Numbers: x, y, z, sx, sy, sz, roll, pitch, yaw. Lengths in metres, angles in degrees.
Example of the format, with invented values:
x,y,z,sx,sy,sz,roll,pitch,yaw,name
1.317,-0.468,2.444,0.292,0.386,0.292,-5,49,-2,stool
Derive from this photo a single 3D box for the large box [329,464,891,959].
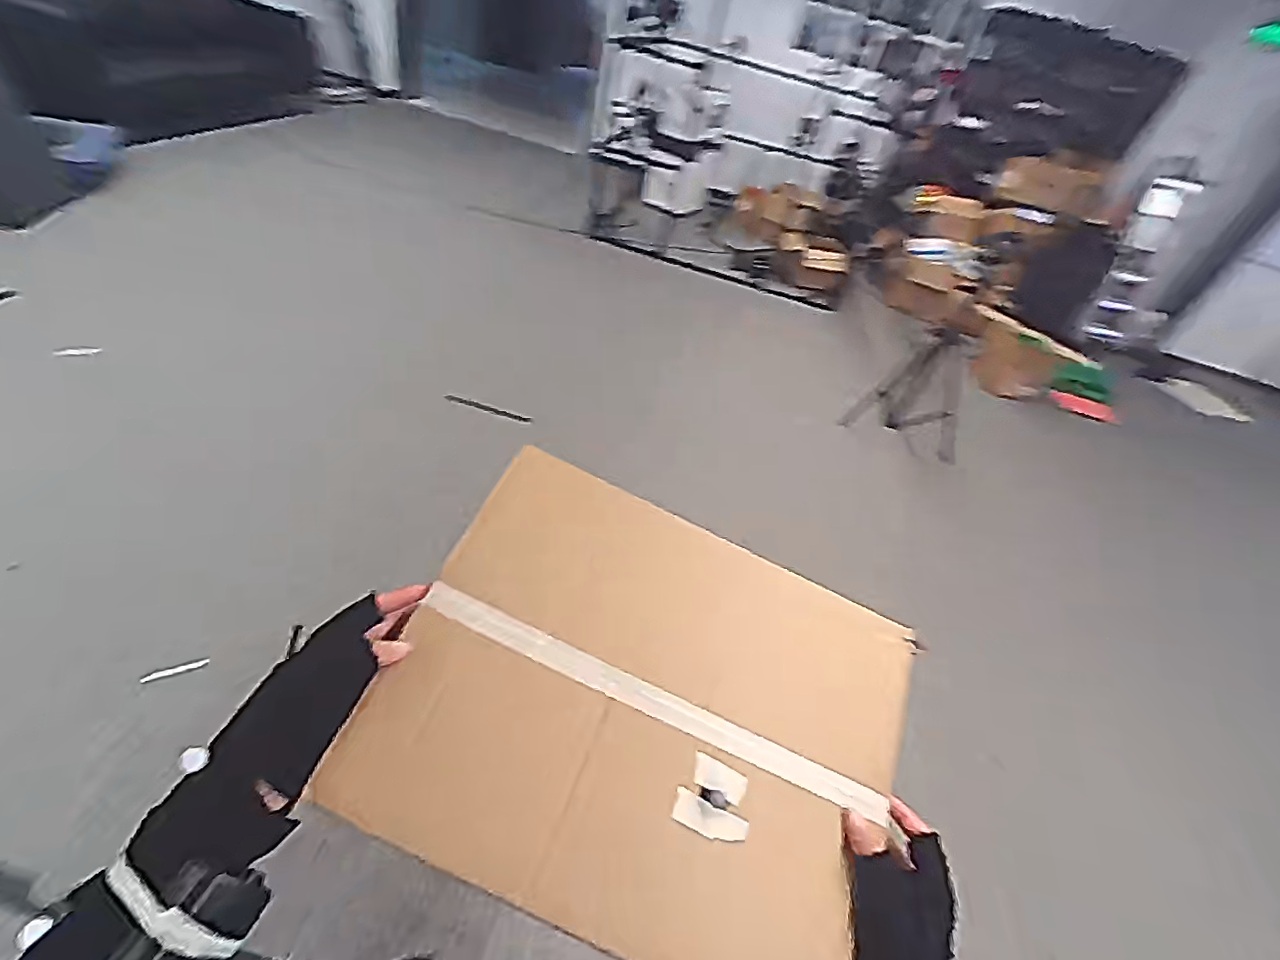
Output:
x,y,z,sx,sy,sz,roll,pitch,yaw,name
-0.021,0.248,0.585,0.408,0.320,0.320,26,63,0,large box
